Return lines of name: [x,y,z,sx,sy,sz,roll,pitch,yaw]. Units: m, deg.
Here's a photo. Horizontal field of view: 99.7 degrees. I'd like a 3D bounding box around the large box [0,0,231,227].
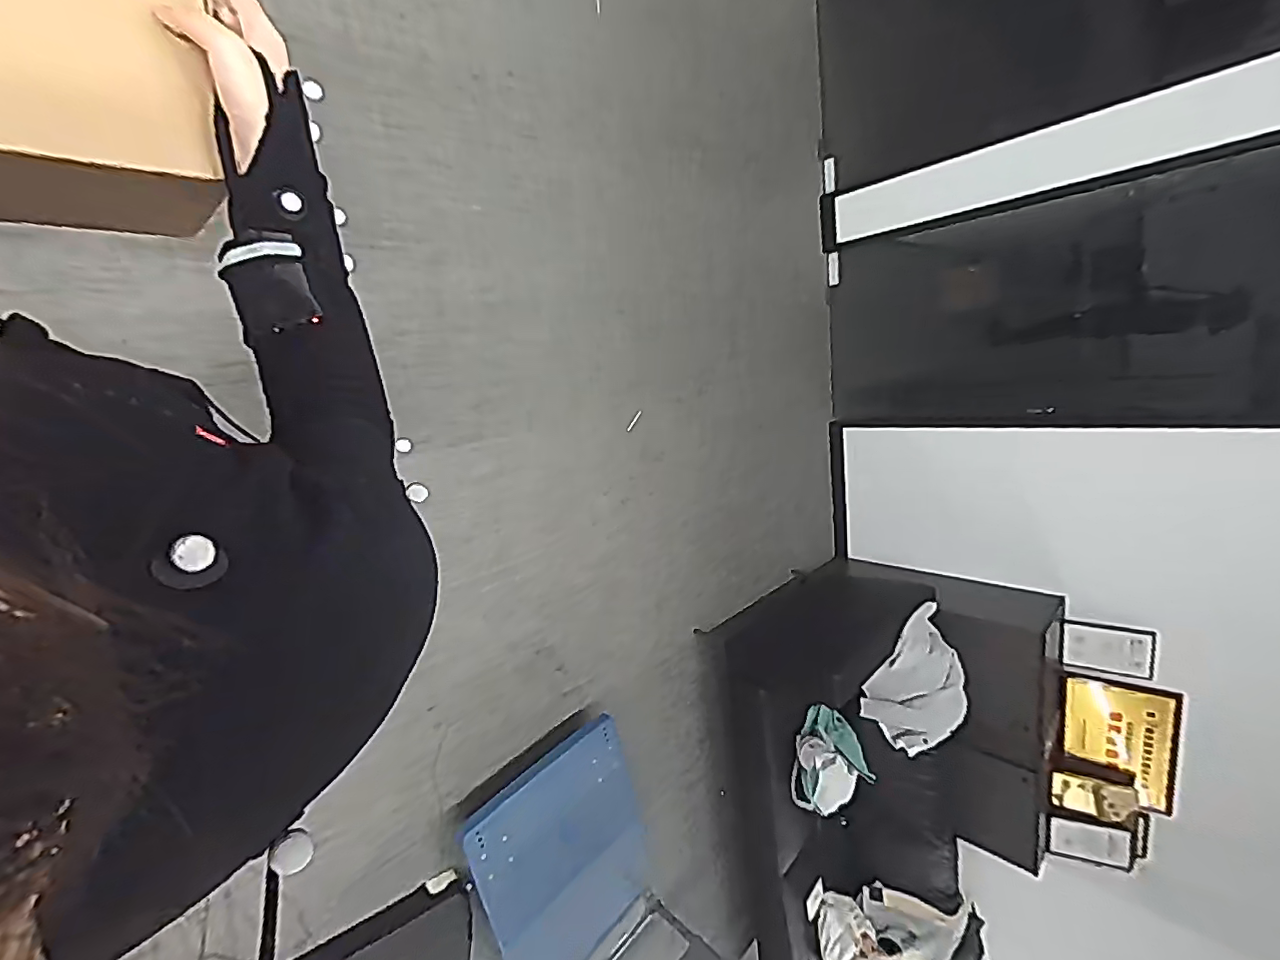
large box: [-0.560,-0.364,0.352,0.408,0.320,0.320,-14,110,-40]
